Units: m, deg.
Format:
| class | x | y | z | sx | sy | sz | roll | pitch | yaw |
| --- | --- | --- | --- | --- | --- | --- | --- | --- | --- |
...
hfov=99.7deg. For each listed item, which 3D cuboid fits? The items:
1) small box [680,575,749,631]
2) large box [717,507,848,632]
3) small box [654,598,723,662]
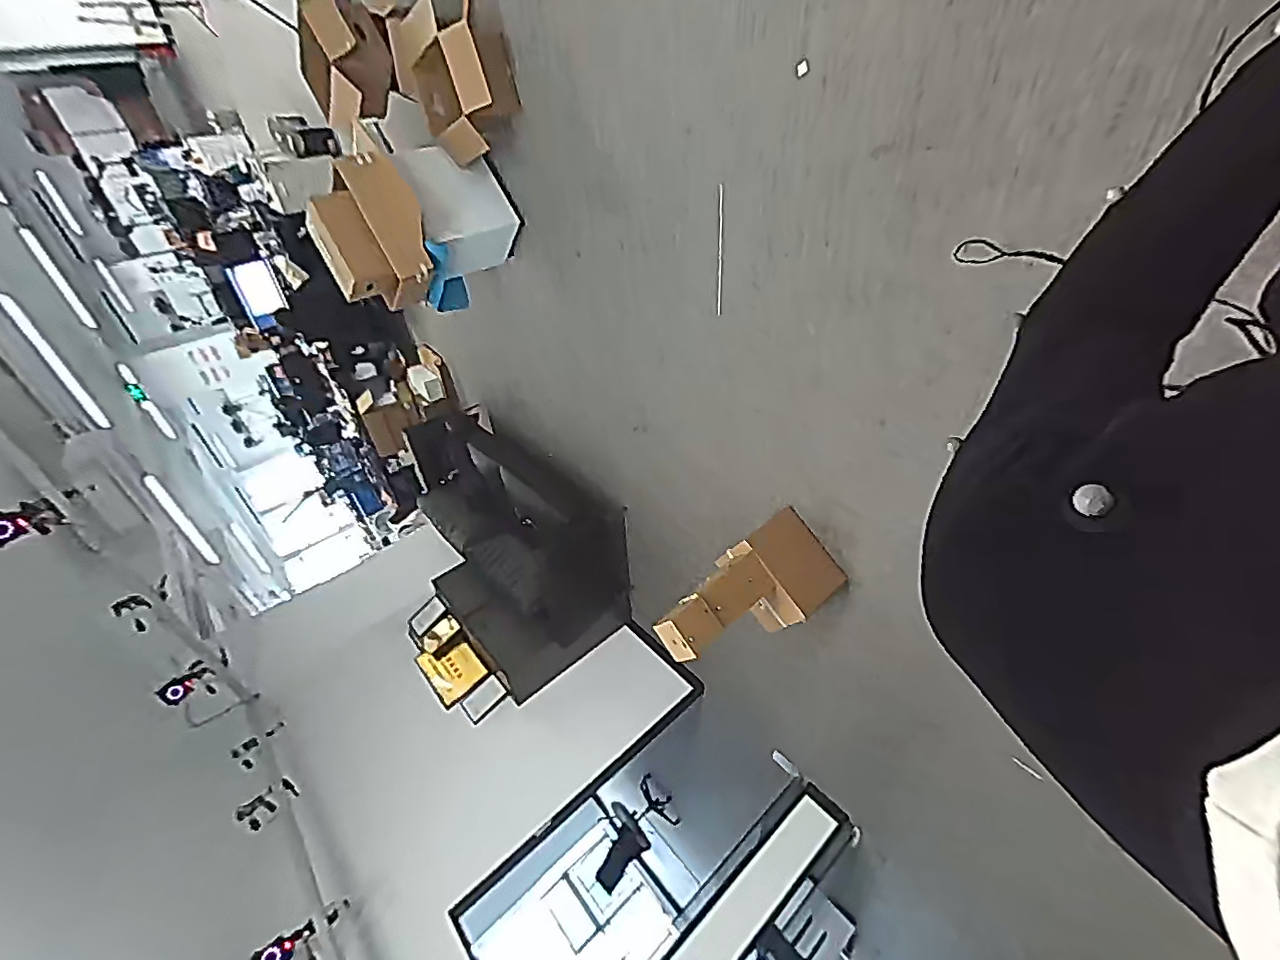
| class | x | y | z | sx | sy | sz | roll | pitch | yaw |
| --- | --- | --- | --- | --- | --- | --- | --- | --- | --- |
| small box | 0.301 | 0.503 | 2.180 | 0.179 | 0.176 | 0.168 | 54 | 149 | 7 |
| large box | 0.628 | 0.398 | 2.417 | 0.408 | 0.320 | 0.320 | 52 | 151 | 11 |
| small box | 0.190 | 0.577 | 2.084 | 0.168 | 0.176 | 0.179 | 54 | 150 | 6 |
